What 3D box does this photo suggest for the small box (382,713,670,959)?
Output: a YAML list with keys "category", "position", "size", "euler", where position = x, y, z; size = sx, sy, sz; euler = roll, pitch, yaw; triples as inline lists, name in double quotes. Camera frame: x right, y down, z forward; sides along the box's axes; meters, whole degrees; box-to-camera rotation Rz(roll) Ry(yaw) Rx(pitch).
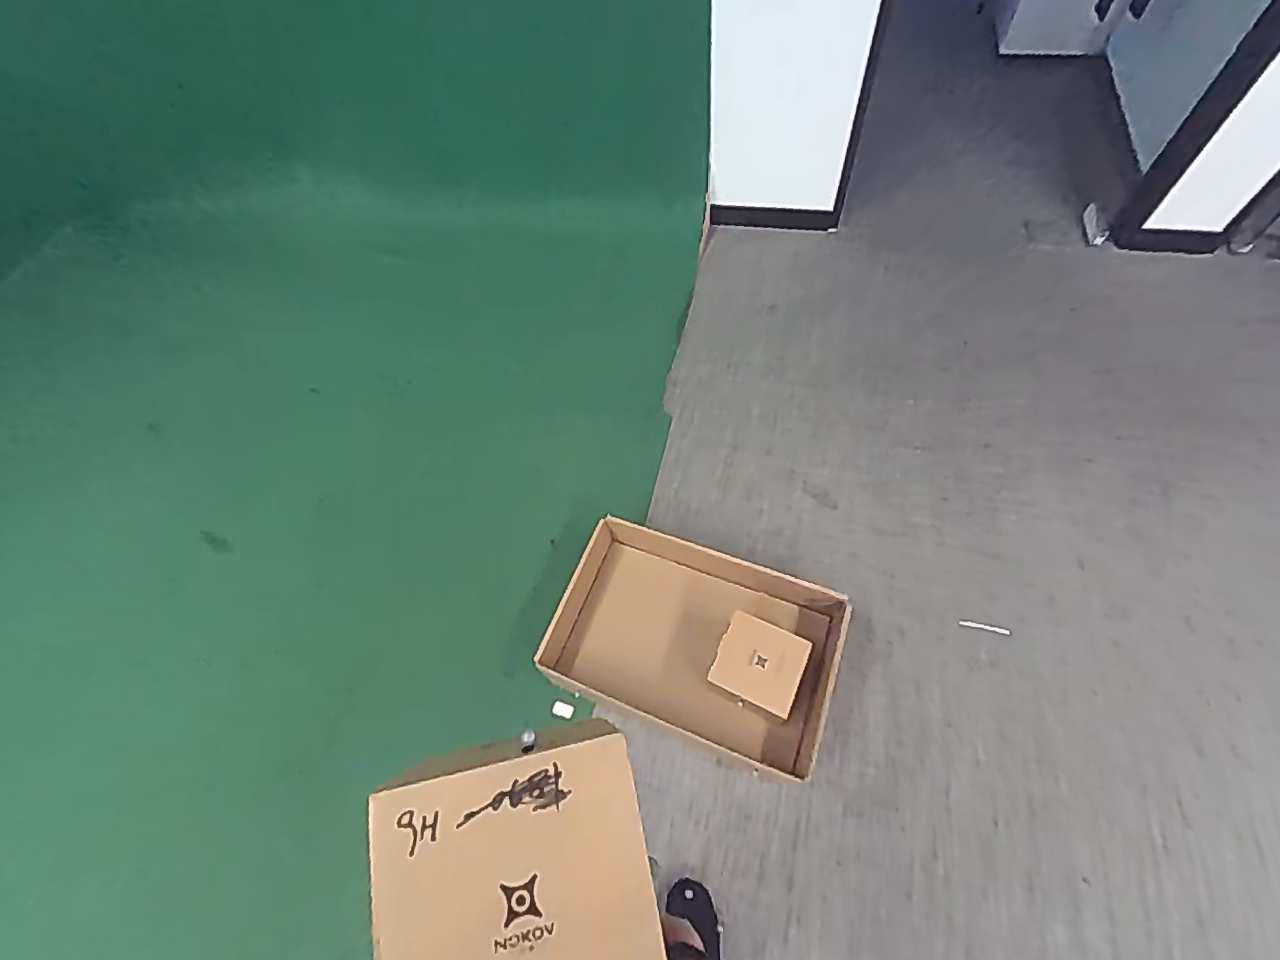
- category: "small box"
  position: [-0.080, 0.289, 0.406]
  size: [0.168, 0.176, 0.179]
  euler: [-8, 72, -13]
